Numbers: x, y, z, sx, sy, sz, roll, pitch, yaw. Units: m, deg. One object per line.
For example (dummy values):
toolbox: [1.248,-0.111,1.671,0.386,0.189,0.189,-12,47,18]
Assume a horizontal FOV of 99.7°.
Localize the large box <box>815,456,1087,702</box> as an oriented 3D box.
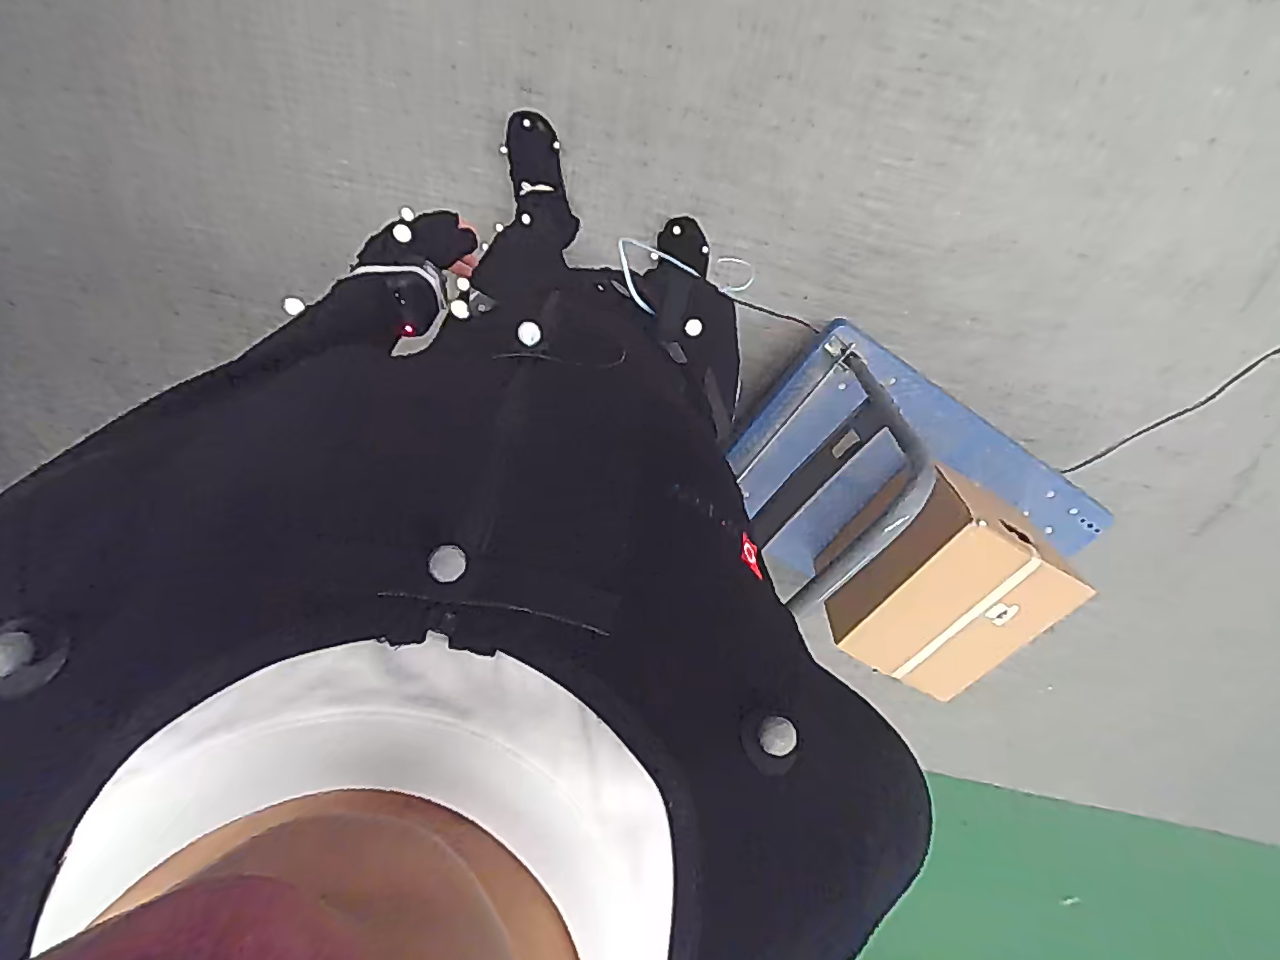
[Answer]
large box: [0.673,0.224,1.260,0.320,0.320,0.408,28,118,-9]
